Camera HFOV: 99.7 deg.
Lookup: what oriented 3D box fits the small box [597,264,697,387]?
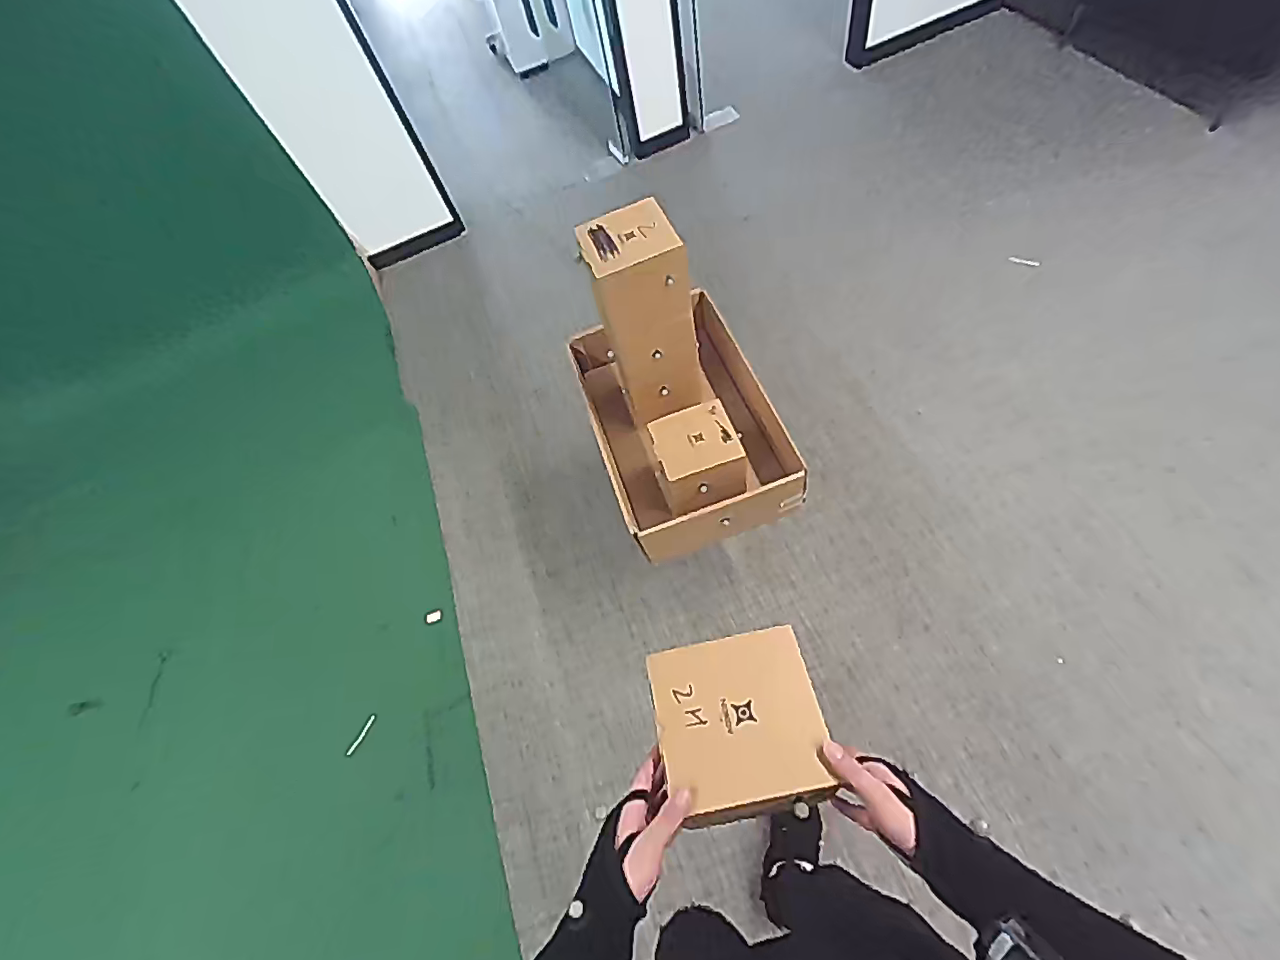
[{"bbox_3d":[0.022,-0.344,1.224,0.179,0.176,0.168,-23,60,0],"label":"small box"}]

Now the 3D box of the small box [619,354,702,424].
[{"bbox_3d":[0.051,-0.271,1.368,0.179,0.176,0.168,-21,60,0],"label":"small box"}]

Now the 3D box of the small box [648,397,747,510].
[{"bbox_3d":[0.135,-0.053,1.229,0.179,0.176,0.168,-19,59,1],"label":"small box"}]

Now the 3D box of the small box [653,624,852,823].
[{"bbox_3d":[0.122,0.291,0.635,0.179,0.176,0.168,-13,53,3],"label":"small box"}]
